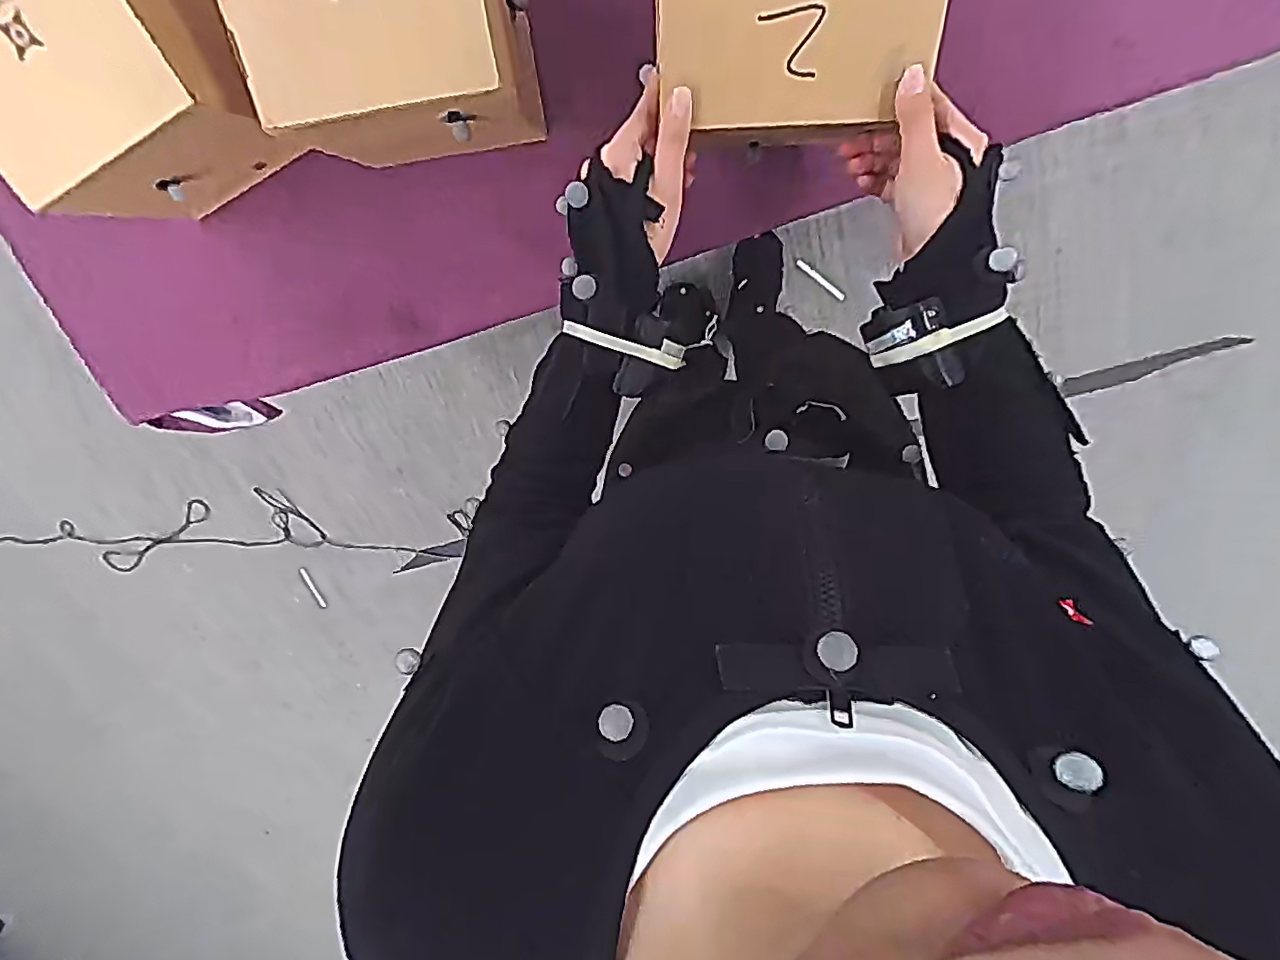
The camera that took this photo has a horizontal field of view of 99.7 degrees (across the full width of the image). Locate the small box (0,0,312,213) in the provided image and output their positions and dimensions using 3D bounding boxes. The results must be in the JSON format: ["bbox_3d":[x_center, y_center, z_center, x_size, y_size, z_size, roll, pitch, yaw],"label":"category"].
[{"bbox_3d":[-0.416,-0.338,0.437,0.168,0.176,0.179,-24,110,11],"label":"small box"}]

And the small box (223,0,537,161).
[{"bbox_3d":[-0.186,-0.364,0.417,0.179,0.176,0.168,-7,111,5],"label":"small box"}]
